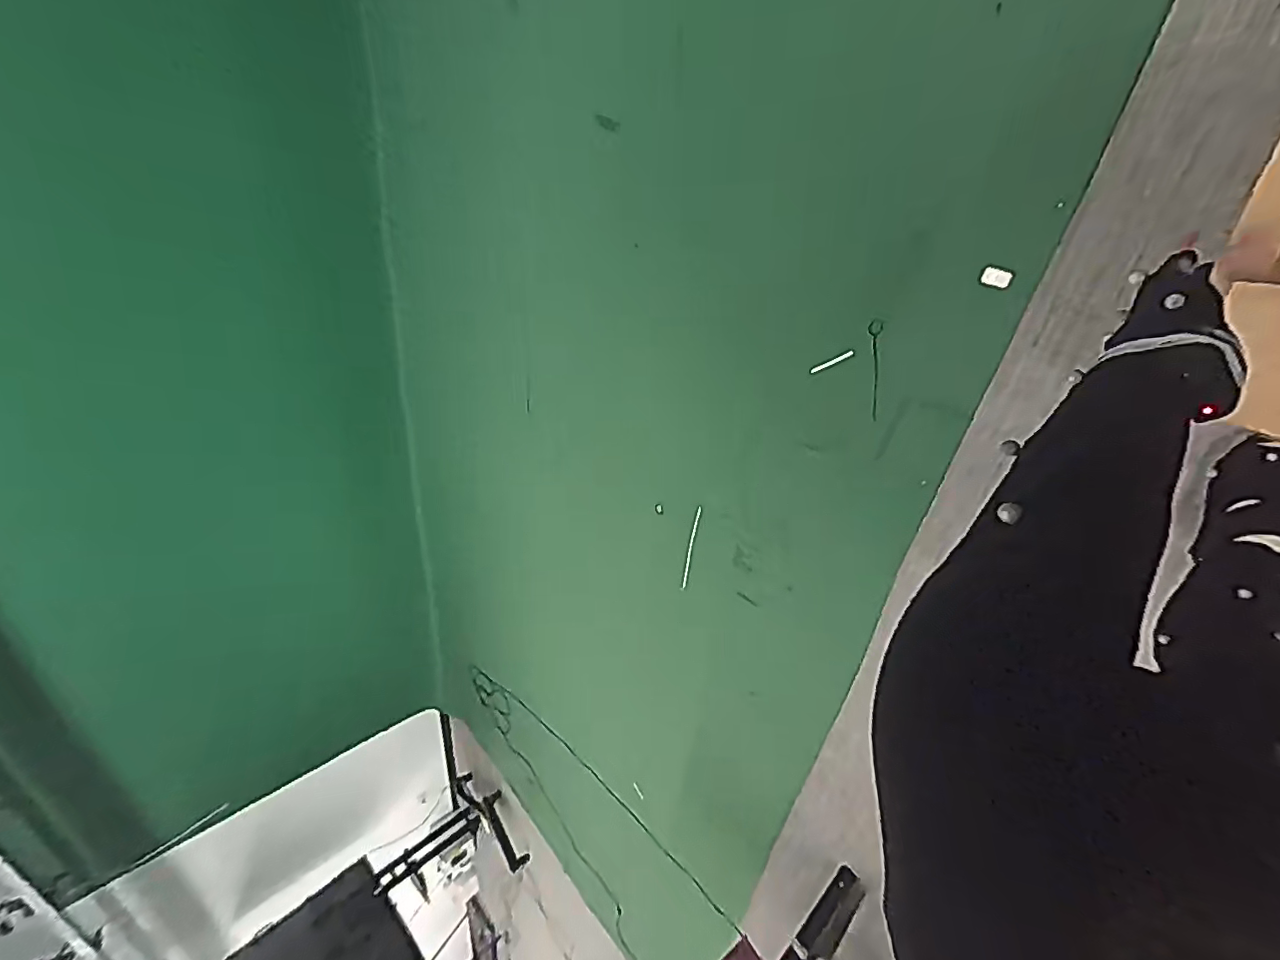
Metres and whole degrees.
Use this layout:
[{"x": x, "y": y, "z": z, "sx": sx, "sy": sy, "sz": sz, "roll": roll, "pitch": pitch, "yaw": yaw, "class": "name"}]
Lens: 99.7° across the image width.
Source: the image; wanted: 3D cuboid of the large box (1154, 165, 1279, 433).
[{"x": 0.913, "y": -0.254, "z": 0.626, "sx": 0.320, "sy": 0.320, "sz": 0.408, "roll": 32, "pitch": 128, "yaw": 38, "class": "large box"}]
